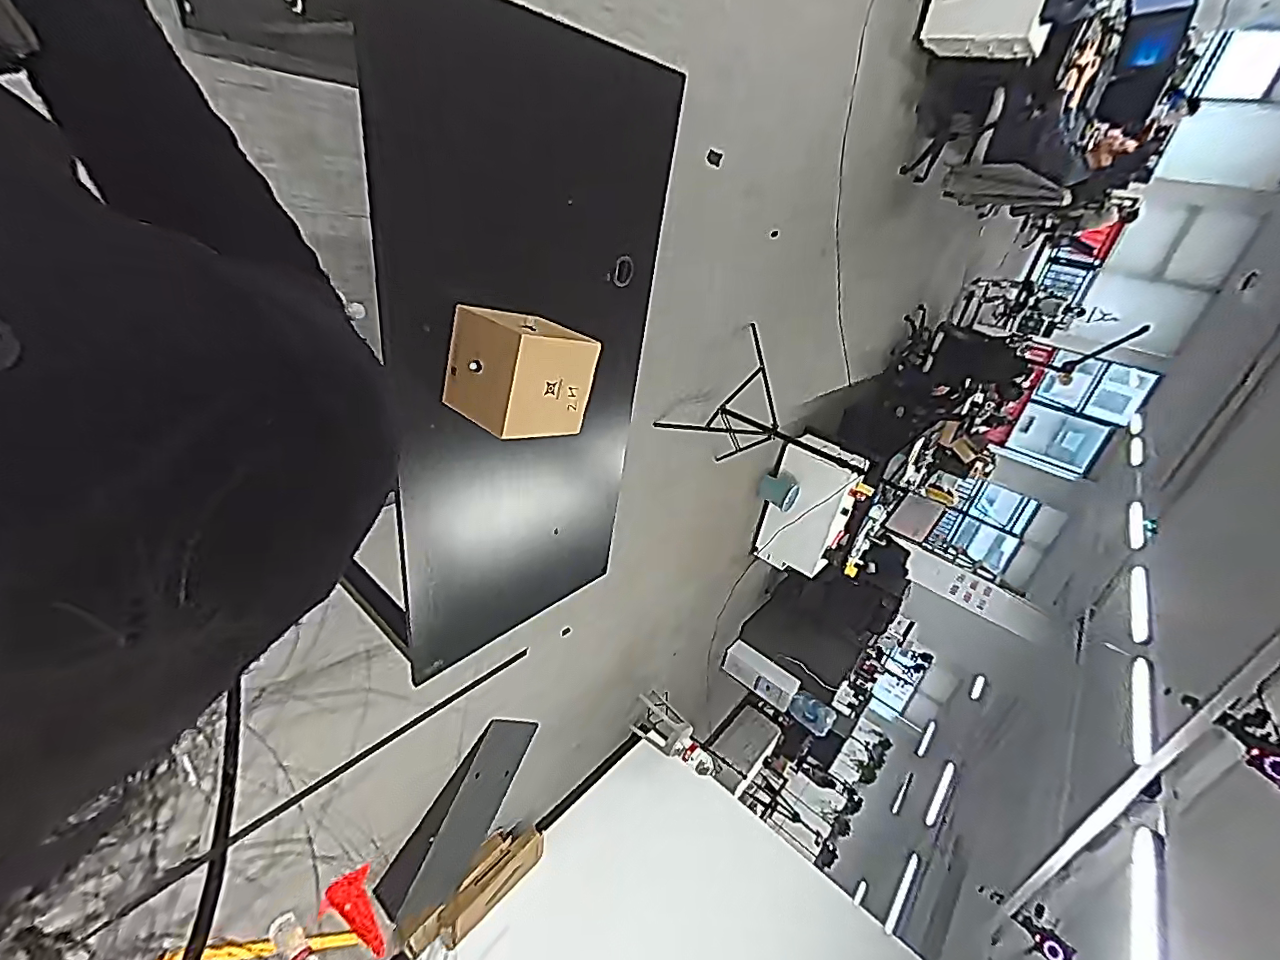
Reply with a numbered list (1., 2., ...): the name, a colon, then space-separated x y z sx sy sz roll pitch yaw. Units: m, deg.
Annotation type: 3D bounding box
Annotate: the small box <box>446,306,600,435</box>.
1. small box: -0.201 -0.185 0.913 0.179 0.176 0.168 -12 125 -52
